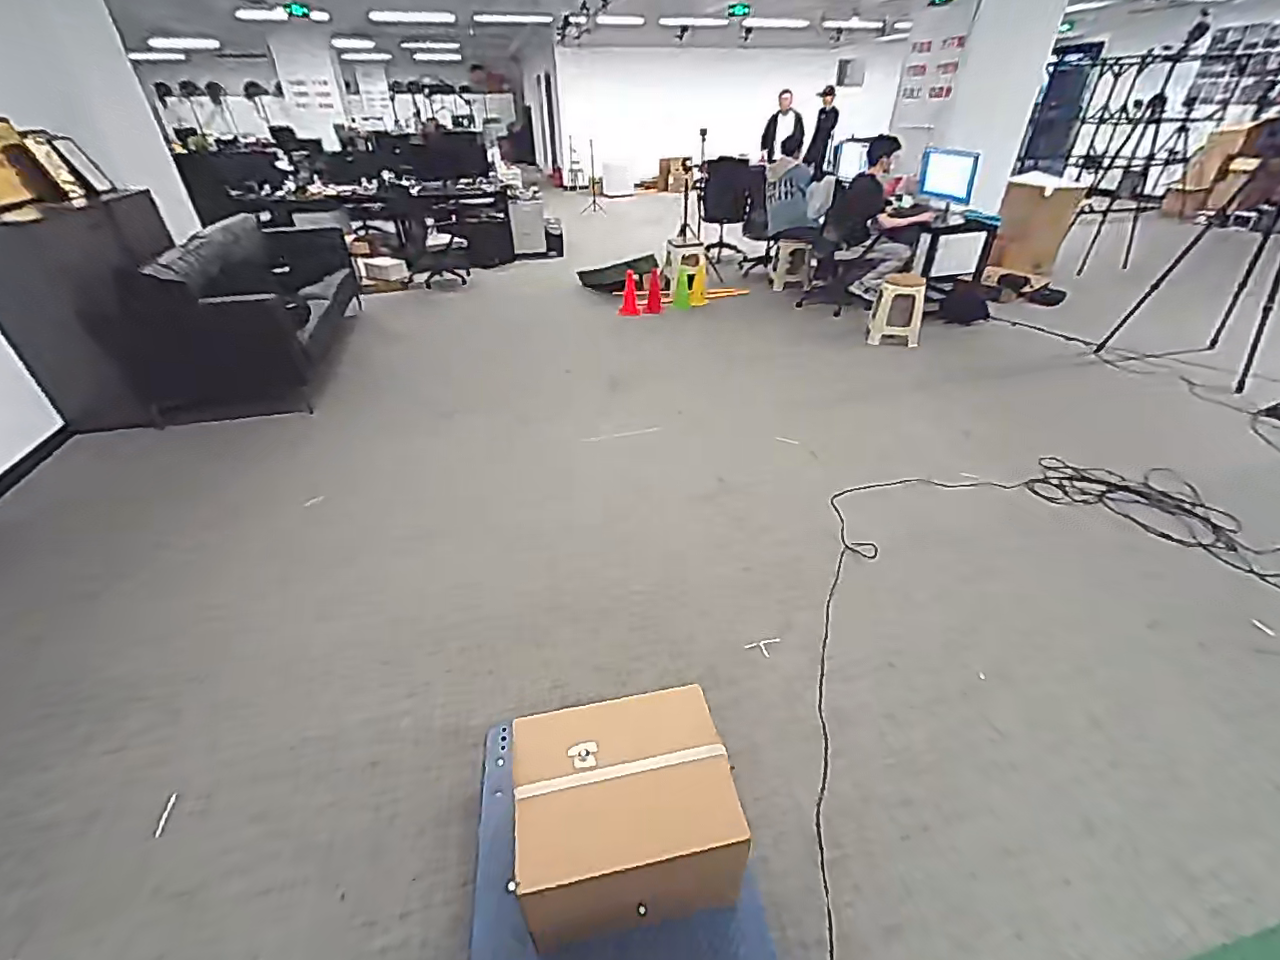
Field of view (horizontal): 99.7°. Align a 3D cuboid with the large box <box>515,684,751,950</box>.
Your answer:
[{"bbox_3d":[-0.025,0.677,1.106,0.408,0.320,0.320,-8,34,-9],"label":"large box"}]
